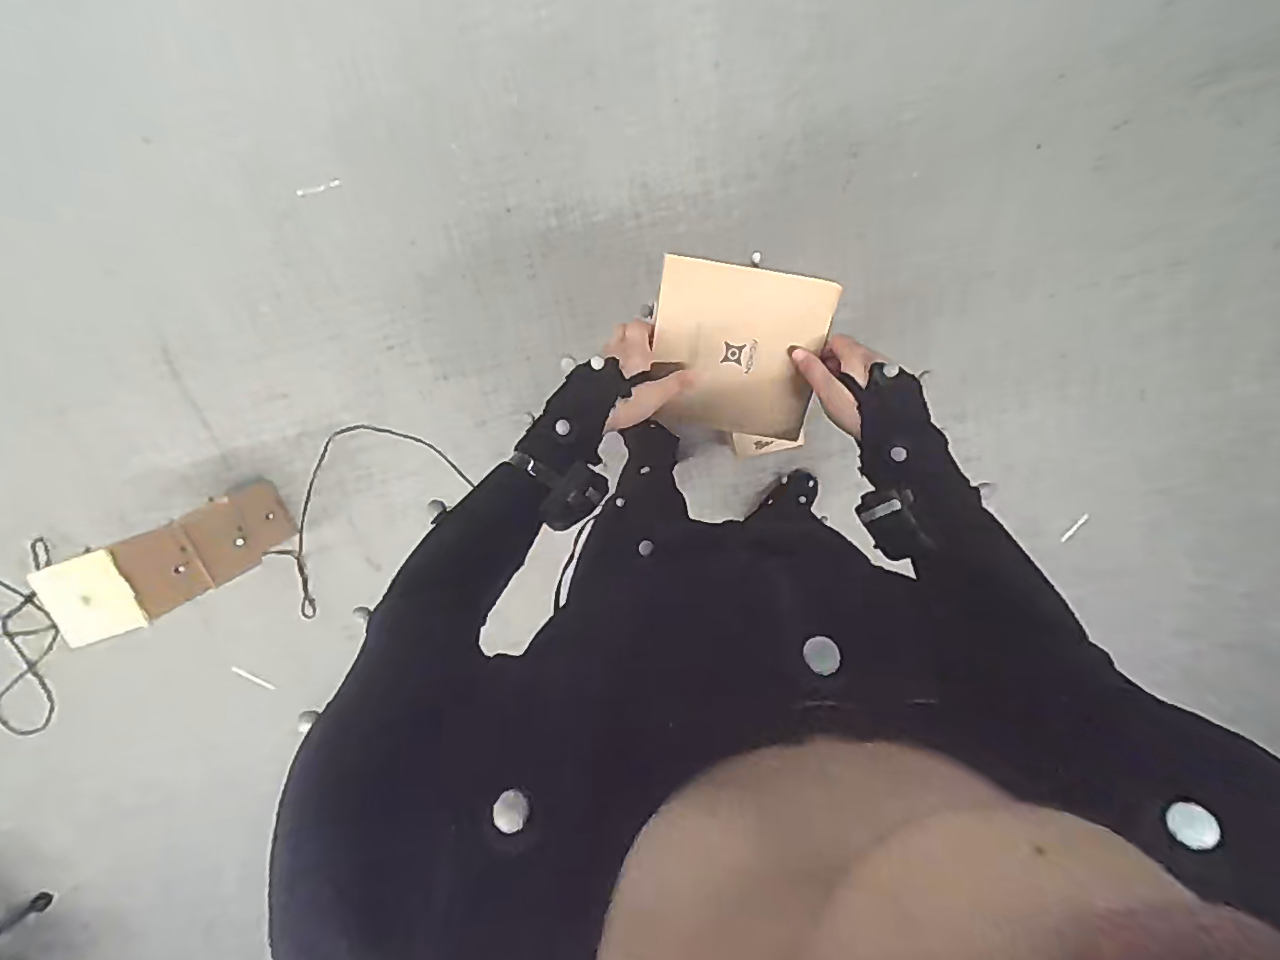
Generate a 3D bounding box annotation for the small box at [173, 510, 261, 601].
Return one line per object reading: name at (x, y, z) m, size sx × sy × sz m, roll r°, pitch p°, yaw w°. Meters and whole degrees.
small box at (-1.049, 0.186, 1.266) m, size 0.179 × 0.176 × 0.168 m, roll -18°, pitch 103°, yaw 4°

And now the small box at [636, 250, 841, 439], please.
small box at (0.095, -0.160, 0.612) m, size 0.179 × 0.176 × 0.168 m, roll 8°, pitch 114°, yaw -2°

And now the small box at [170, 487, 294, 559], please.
small box at (-1.055, 0.134, 1.422) m, size 0.179 × 0.176 × 0.168 m, roll -21°, pitch 101°, yaw 6°

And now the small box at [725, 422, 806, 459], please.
small box at (0.292, -0.164, 1.331) m, size 0.168 × 0.176 × 0.179 m, roll -13°, pitch 102°, yaw 4°

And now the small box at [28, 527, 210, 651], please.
small box at (-1.049, 0.216, 1.106) m, size 0.179 × 0.176 × 0.168 m, roll -19°, pitch 102°, yaw 4°
